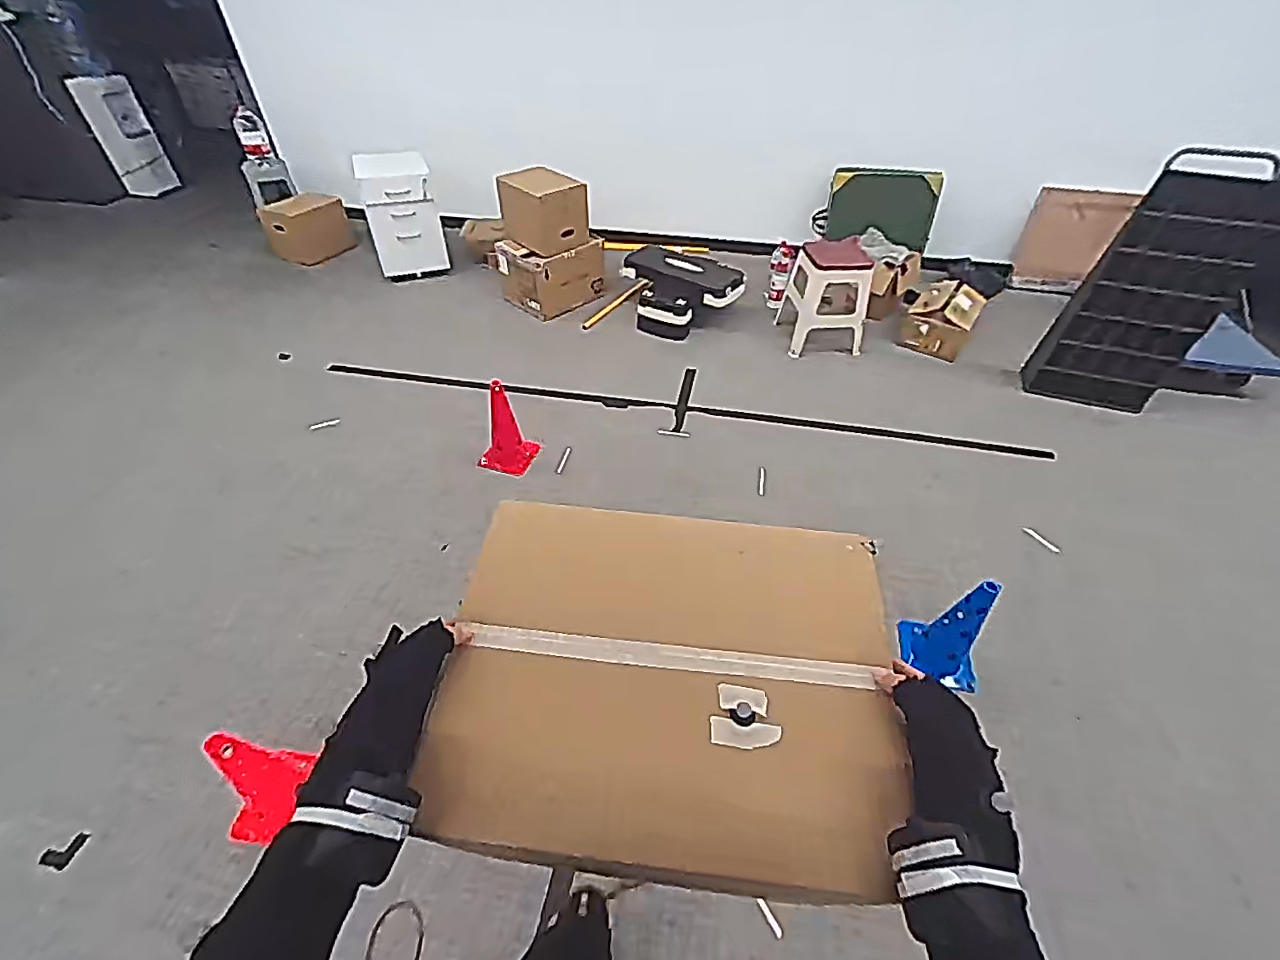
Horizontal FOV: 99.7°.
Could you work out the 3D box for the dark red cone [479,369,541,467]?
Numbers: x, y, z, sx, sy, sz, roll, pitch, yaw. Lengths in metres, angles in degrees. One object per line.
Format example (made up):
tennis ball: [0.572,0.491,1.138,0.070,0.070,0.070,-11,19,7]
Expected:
dark red cone: [-0.521,-0.251,2.088,0.201,0.394,0.202,14,45,11]

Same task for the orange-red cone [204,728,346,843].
orange-red cone: [-0.846,0.636,1.195,0.198,0.360,0.199,6,46,6]

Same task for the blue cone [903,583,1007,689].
blue cone: [0.901,0.408,1.509,0.192,0.380,0.193,12,45,9]

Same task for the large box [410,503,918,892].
large box: [0.025,0.254,0.622,0.408,0.320,0.320,6,52,3]
